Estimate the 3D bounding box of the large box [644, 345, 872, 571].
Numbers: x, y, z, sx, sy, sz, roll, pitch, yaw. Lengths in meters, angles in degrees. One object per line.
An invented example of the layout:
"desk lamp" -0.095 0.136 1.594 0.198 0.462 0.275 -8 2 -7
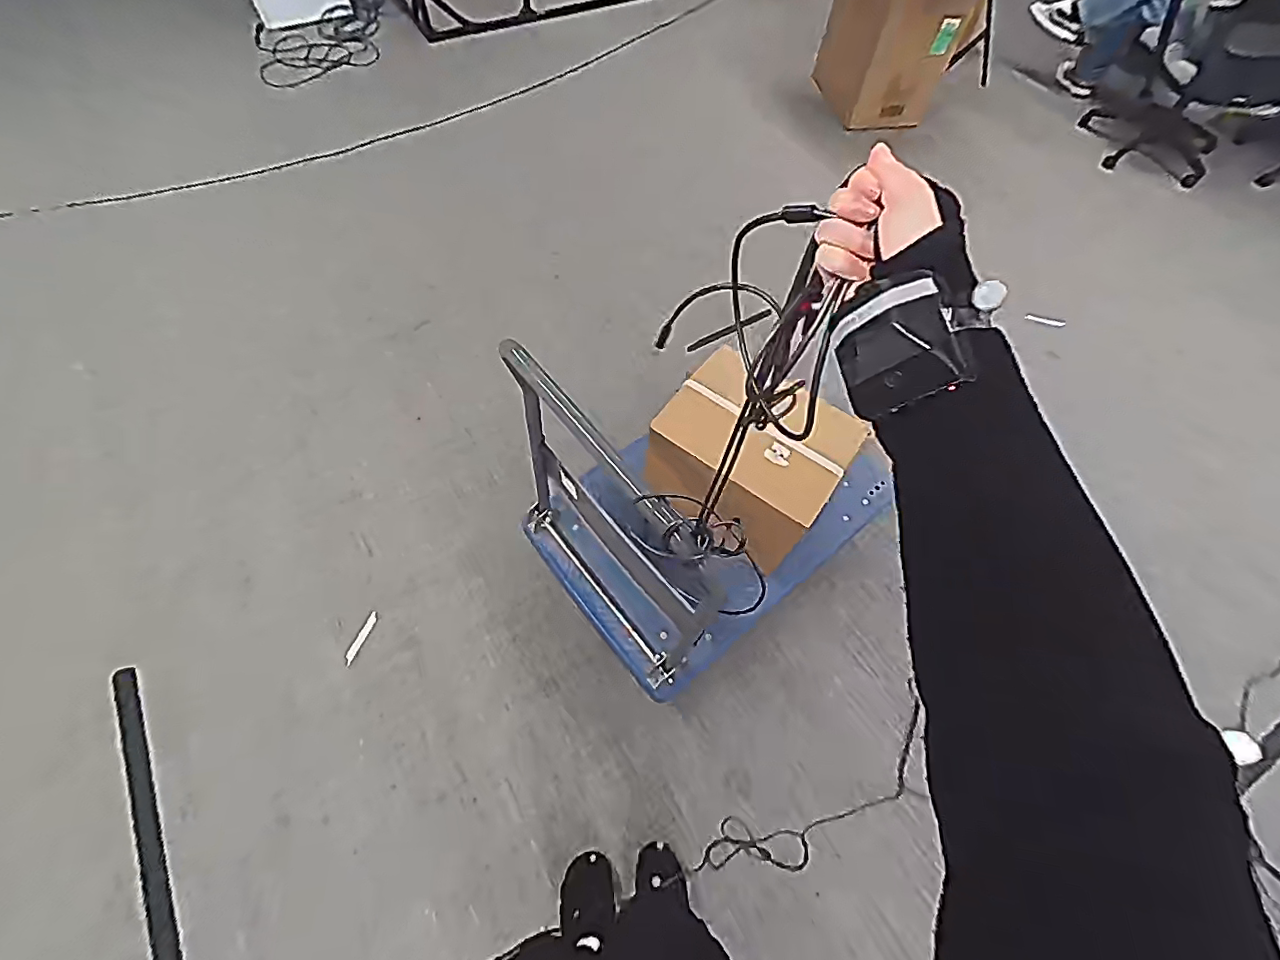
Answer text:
"large box" 0.263 -0.047 1.324 0.408 0.320 0.320 34 66 14
